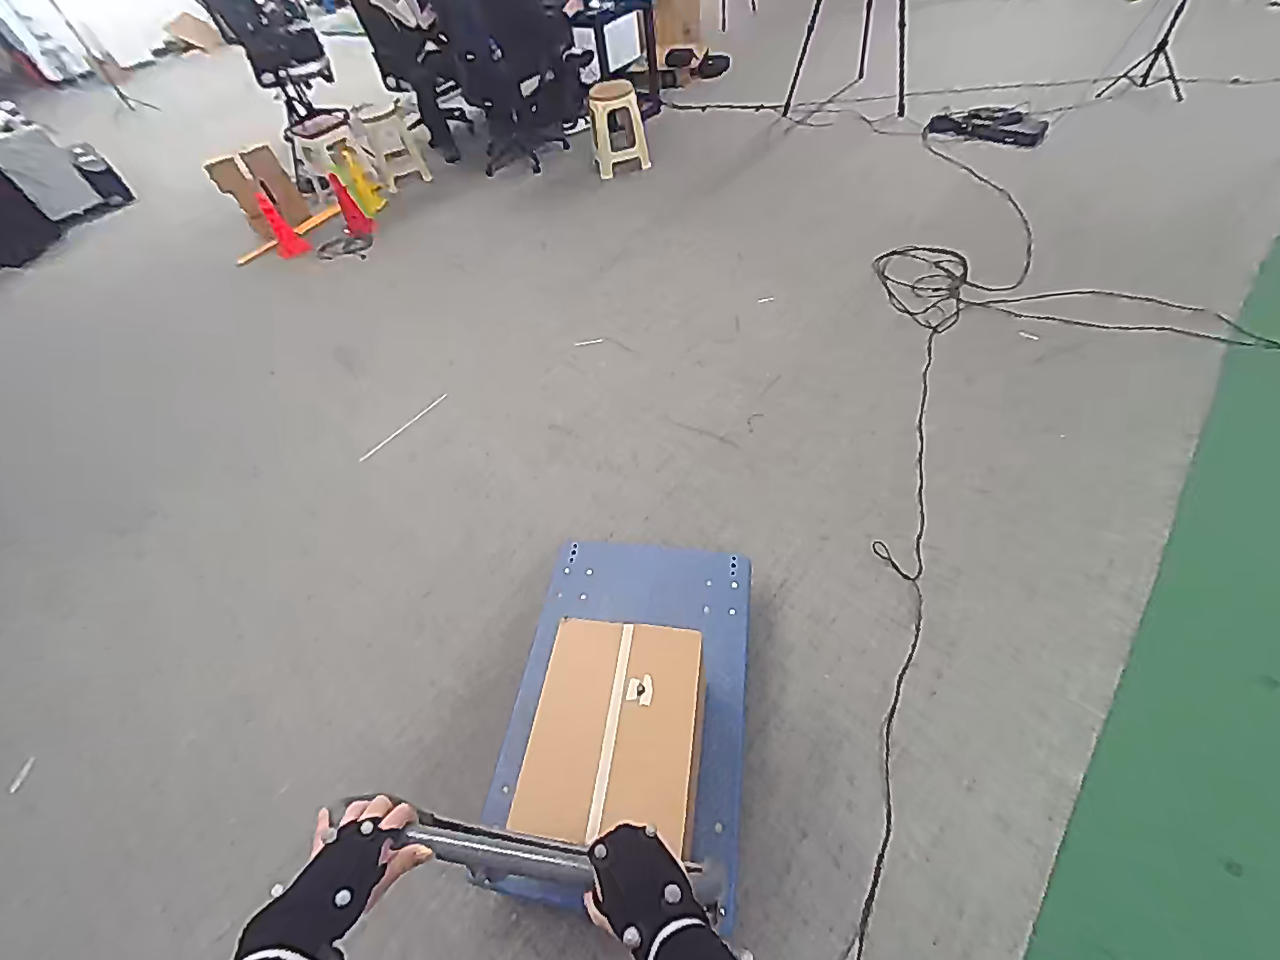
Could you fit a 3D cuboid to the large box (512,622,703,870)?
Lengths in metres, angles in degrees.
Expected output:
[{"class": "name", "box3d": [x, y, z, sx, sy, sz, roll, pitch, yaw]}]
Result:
[{"class": "large box", "box3d": [-0.036, 0.571, 1.172, 0.320, 0.320, 0.408, 3, 51, 11]}]
